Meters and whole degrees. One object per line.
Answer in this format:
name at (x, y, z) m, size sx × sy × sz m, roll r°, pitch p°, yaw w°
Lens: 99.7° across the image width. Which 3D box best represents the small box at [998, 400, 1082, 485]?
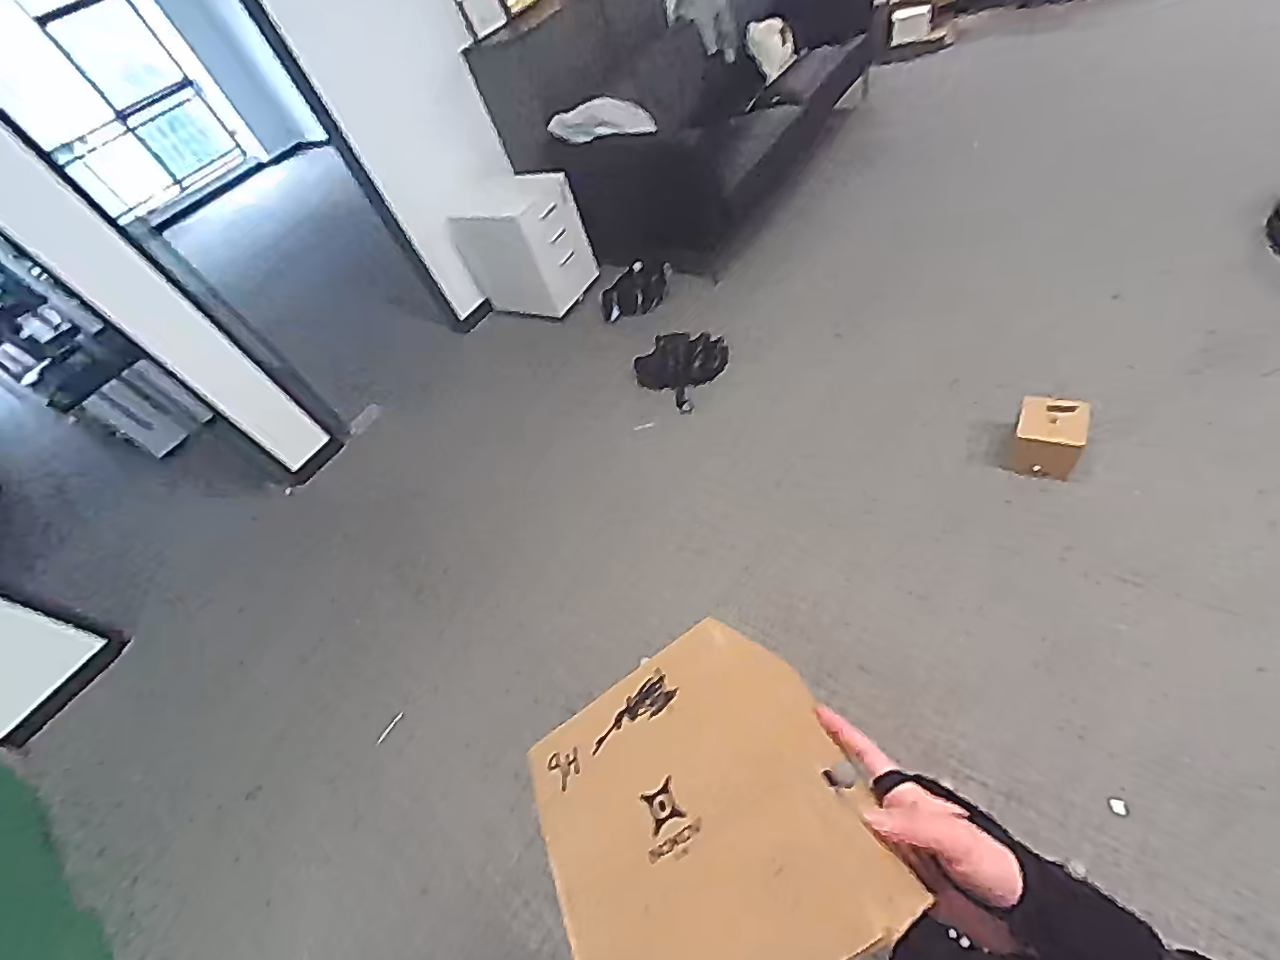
small box at (1.217, -0.115, 1.652) m, size 0.168 × 0.176 × 0.179 m, roll 14°, pitch 58°, yaw 29°
